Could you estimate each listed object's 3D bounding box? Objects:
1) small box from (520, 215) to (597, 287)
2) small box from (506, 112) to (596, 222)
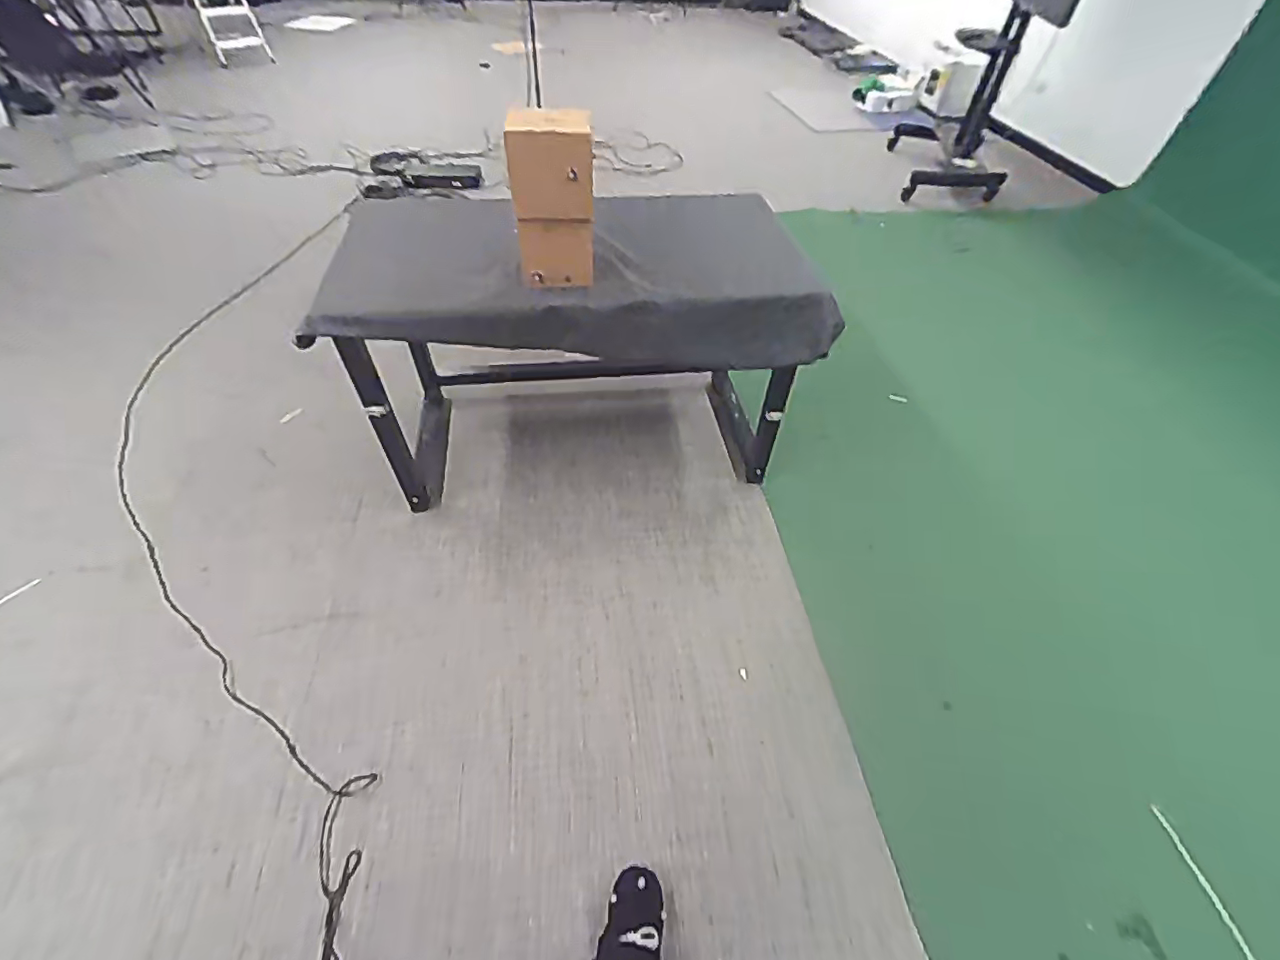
[{"bbox_3d":[-0.197,-0.581,1.306,0.168,0.176,0.179,-7,50,-8],"label":"small box"},{"bbox_3d":[-0.185,-0.678,1.175,0.179,0.176,0.168,-4,47,-4],"label":"small box"}]
